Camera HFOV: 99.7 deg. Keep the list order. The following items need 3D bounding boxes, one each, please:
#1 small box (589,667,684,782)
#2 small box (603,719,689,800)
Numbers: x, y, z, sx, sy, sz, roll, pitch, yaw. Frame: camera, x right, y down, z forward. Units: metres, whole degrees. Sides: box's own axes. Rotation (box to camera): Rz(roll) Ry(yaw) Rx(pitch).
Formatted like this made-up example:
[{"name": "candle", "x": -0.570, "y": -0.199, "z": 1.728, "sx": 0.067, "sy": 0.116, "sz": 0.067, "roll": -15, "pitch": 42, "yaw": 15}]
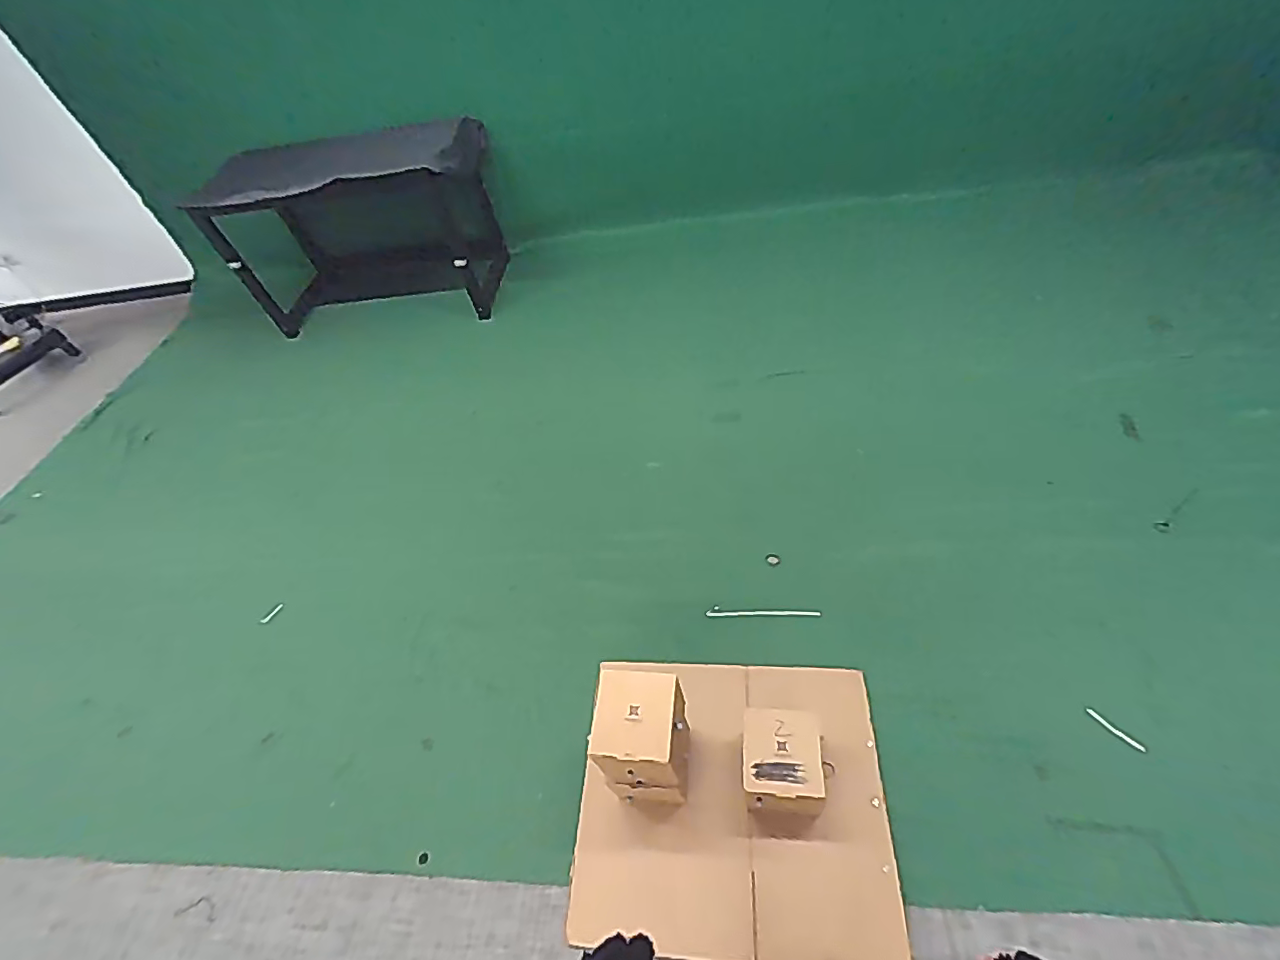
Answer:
[{"name": "small box", "x": 0.002, "y": 0.523, "z": 1.158, "sx": 0.168, "sy": 0.176, "sz": 0.179, "roll": 0, "pitch": 50, "yaw": 12}, {"name": "small box", "x": 0.023, "y": 0.637, "z": 1.273, "sx": 0.168, "sy": 0.176, "sz": 0.179, "roll": -1, "pitch": 49, "yaw": 12}]
